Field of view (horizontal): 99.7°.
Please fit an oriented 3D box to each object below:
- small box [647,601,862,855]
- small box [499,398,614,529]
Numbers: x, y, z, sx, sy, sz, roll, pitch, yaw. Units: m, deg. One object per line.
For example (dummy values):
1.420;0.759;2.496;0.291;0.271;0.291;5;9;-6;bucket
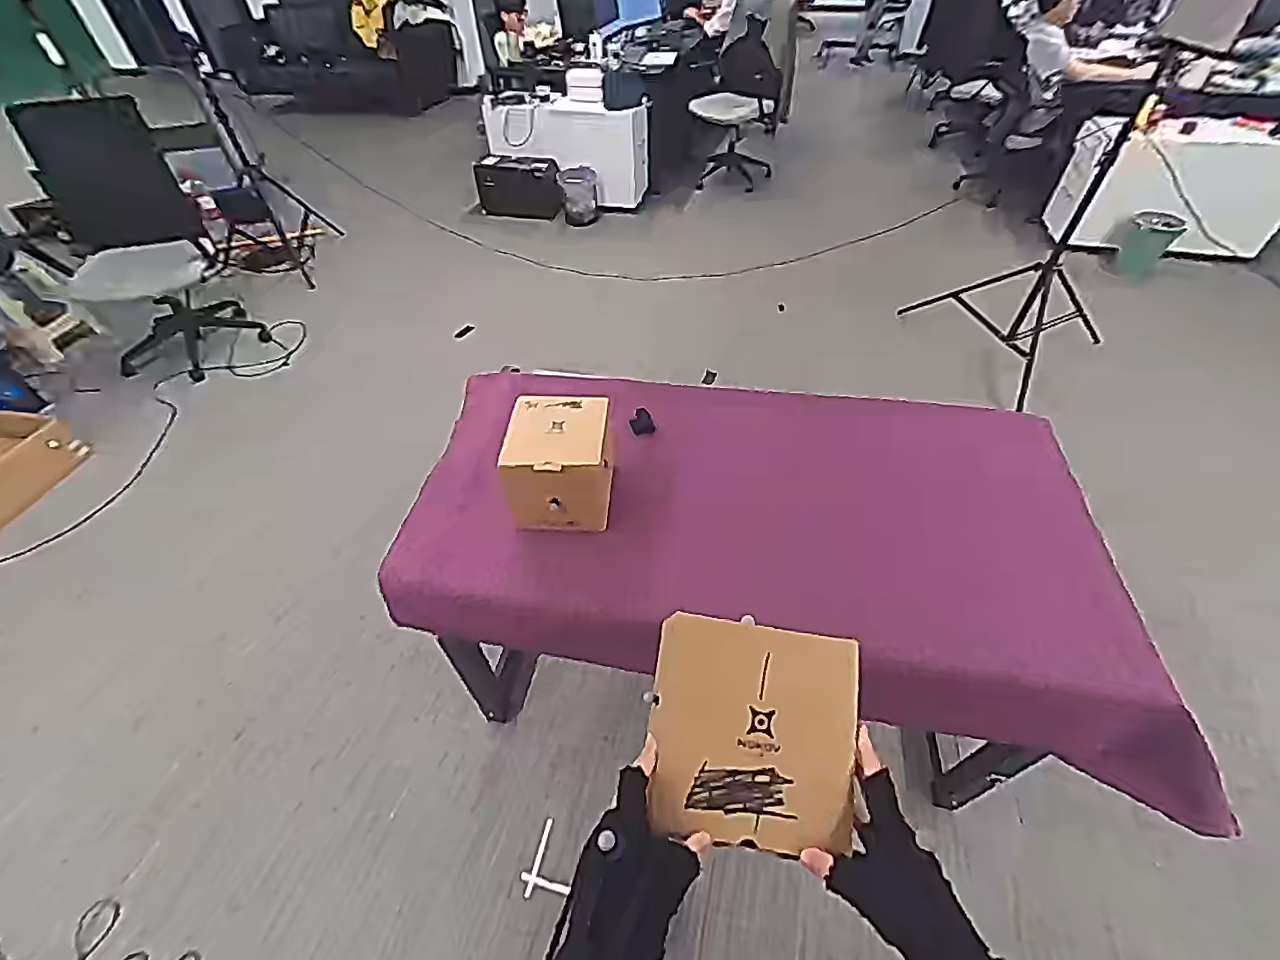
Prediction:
0.100;0.227;0.533;0.168;0.176;0.179;10;72;1;small box
-0.137;-0.027;0.968;0.168;0.176;0.179;2;47;2;small box
